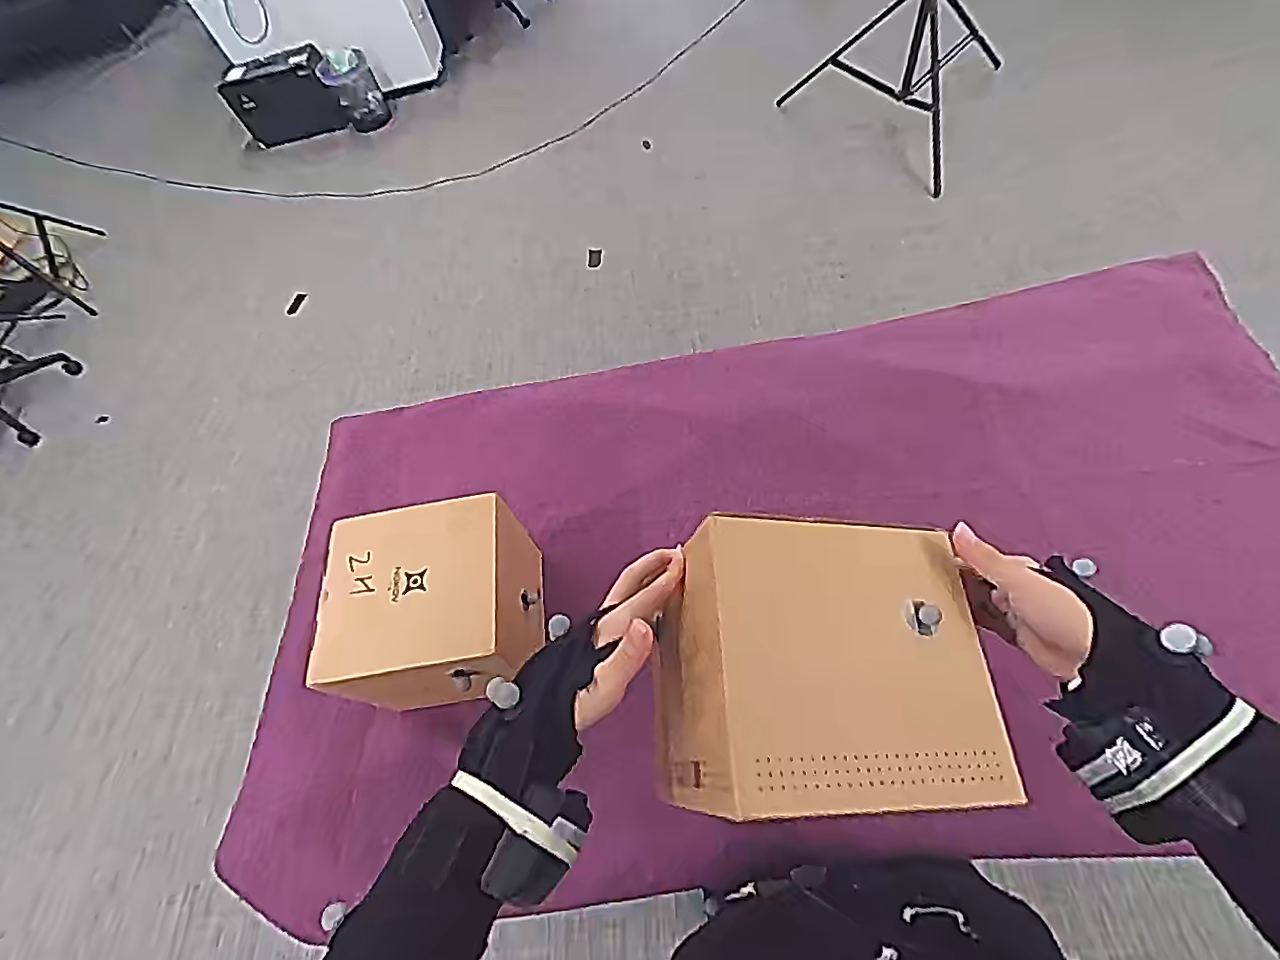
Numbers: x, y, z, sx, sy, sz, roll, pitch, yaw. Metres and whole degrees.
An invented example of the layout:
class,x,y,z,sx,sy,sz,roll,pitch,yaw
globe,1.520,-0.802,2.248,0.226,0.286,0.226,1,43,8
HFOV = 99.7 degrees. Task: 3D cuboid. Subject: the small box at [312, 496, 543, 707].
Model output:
class,x,y,z,sx,sy,sz,roll,pitch,yaw
small box,-0.208,0.139,0.587,0.179,0.176,0.168,-10,58,3
